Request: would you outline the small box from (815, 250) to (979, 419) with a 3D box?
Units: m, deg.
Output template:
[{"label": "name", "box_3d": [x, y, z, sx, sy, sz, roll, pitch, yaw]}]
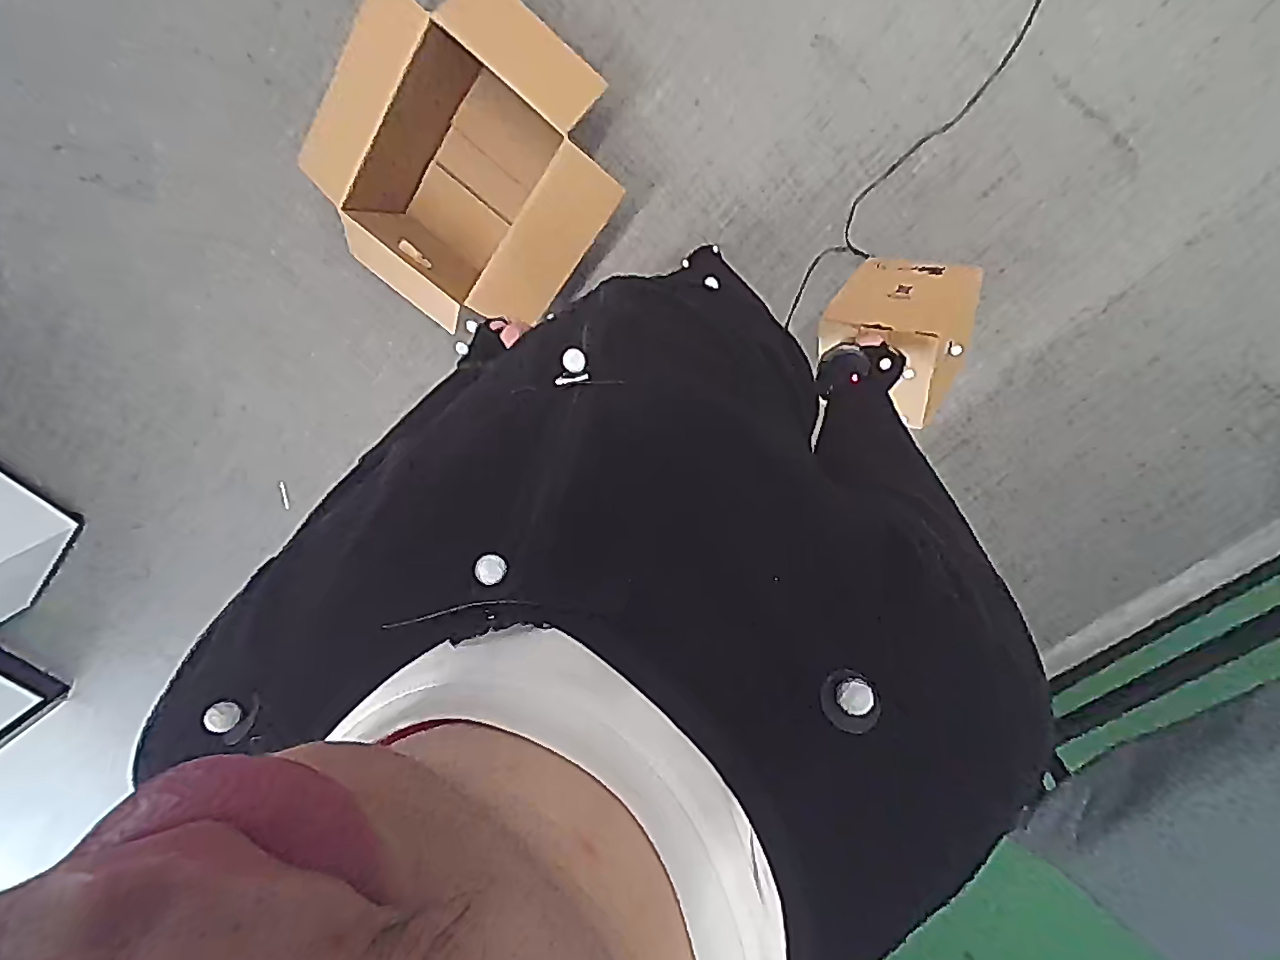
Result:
[{"label": "small box", "box_3d": [0.386, -0.223, 0.832, 0.168, 0.179, 0.176, 25, 151, 32]}]
